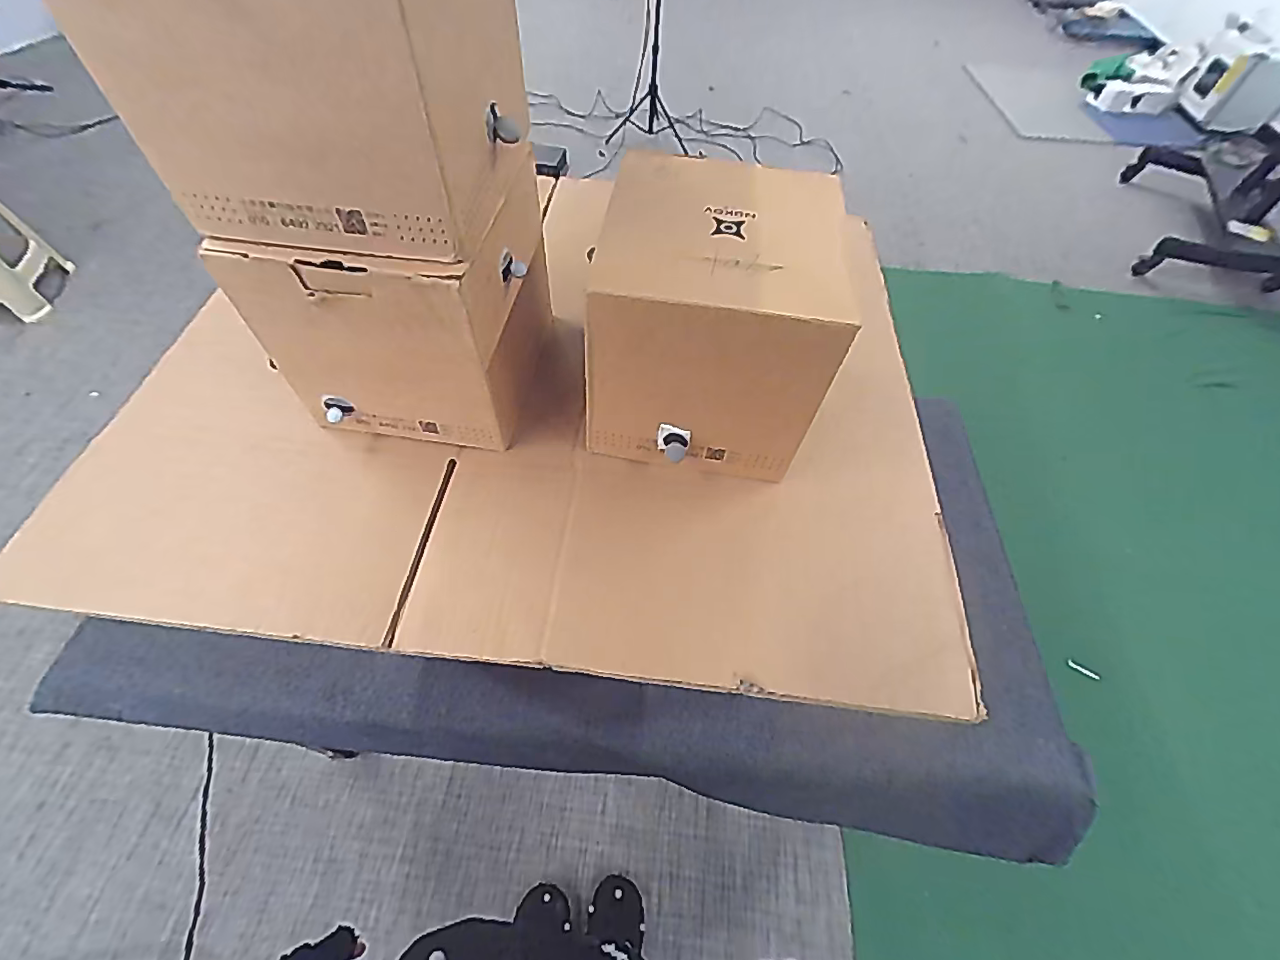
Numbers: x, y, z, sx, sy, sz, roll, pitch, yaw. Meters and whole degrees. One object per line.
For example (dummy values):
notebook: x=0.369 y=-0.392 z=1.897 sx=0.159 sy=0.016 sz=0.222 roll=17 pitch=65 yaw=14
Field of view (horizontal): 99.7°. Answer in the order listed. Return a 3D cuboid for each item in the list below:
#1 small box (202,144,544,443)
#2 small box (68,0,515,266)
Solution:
small box: x=-0.181 y=-0.151 z=0.439 sx=0.168 sy=0.176 sz=0.179 roll=8 pitch=56 yaw=2
small box: x=-0.176 y=-0.252 z=0.310 sx=0.168 sy=0.176 sz=0.179 roll=6 pitch=56 yaw=1
